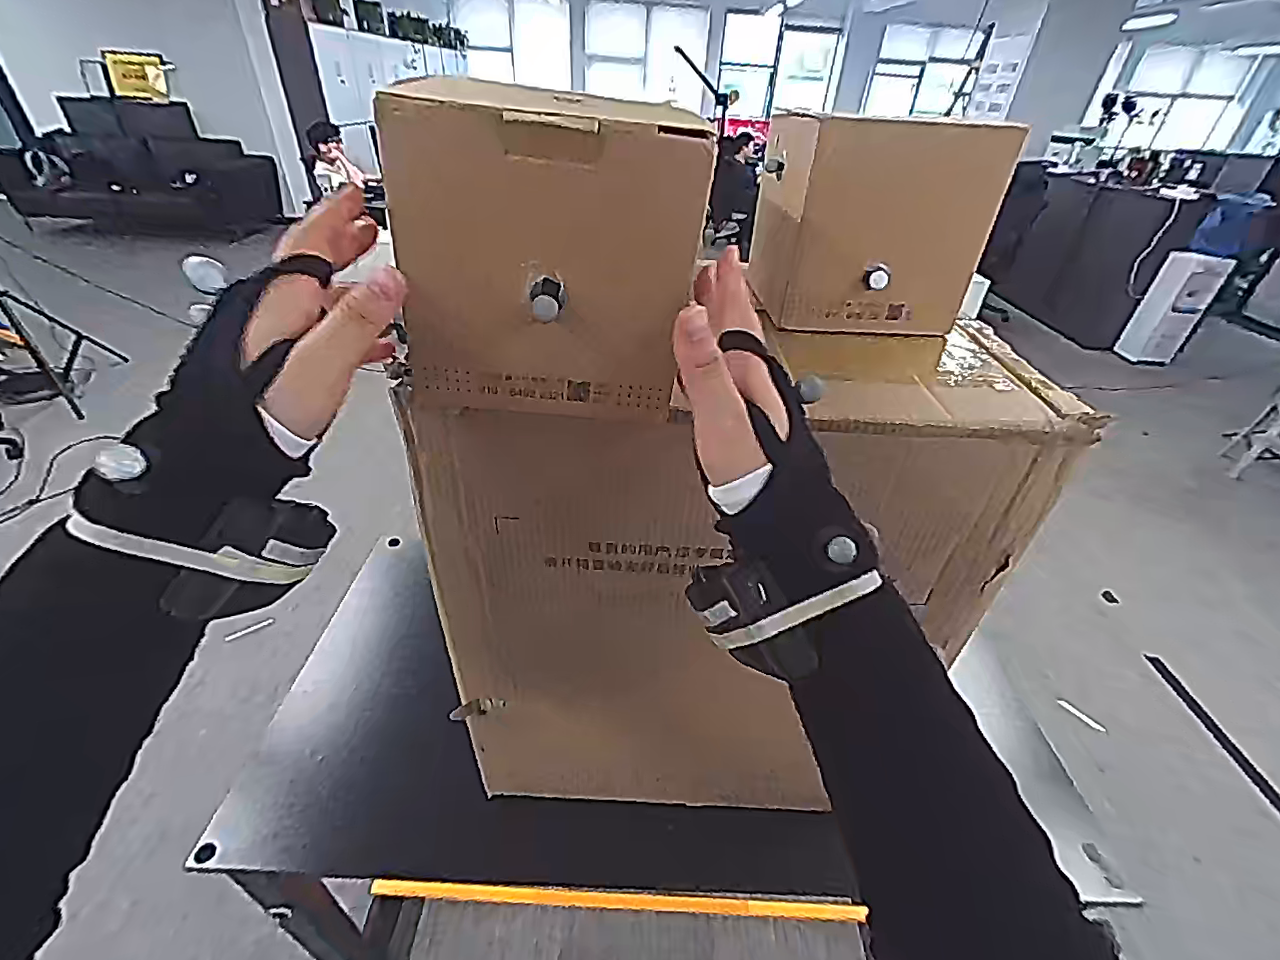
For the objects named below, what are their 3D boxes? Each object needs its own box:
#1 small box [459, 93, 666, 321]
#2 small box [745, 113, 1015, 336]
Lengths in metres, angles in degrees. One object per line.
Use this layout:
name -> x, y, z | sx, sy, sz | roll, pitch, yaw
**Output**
small box -> -0.066, -0.270, 0.534 | 0.168, 0.176, 0.179 | 2, 36, -2
small box -> 0.207, -0.253, 0.531 | 0.168, 0.176, 0.179 | 1, 35, -2
